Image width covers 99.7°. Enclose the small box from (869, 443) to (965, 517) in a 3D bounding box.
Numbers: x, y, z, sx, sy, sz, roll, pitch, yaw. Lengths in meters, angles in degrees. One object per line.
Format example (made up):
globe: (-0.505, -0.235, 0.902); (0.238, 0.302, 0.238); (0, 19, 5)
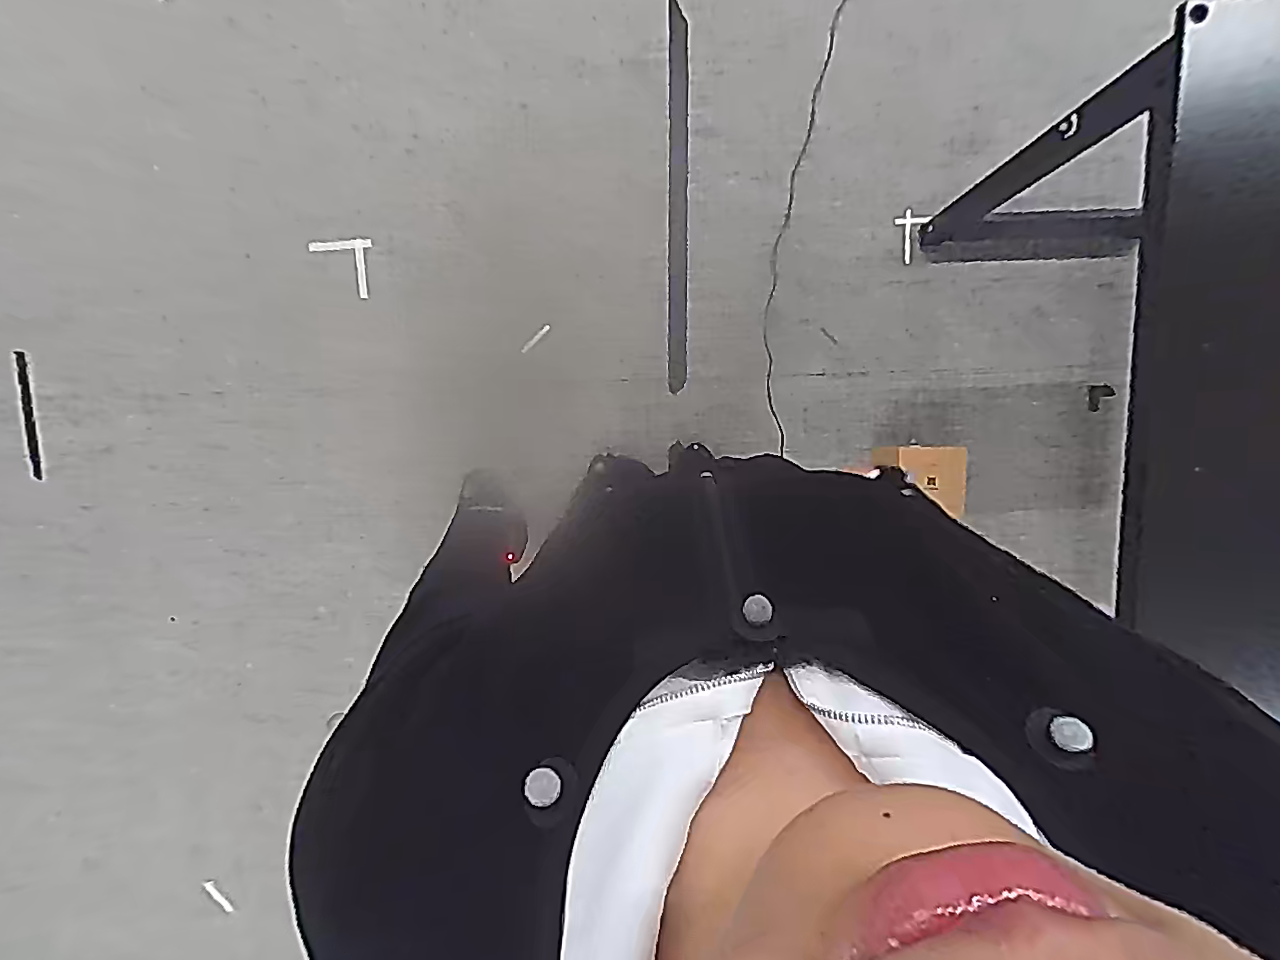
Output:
small box: (0.706, -0.005, 1.393); (0.168, 0.176, 0.179); (-1, 94, 1)
